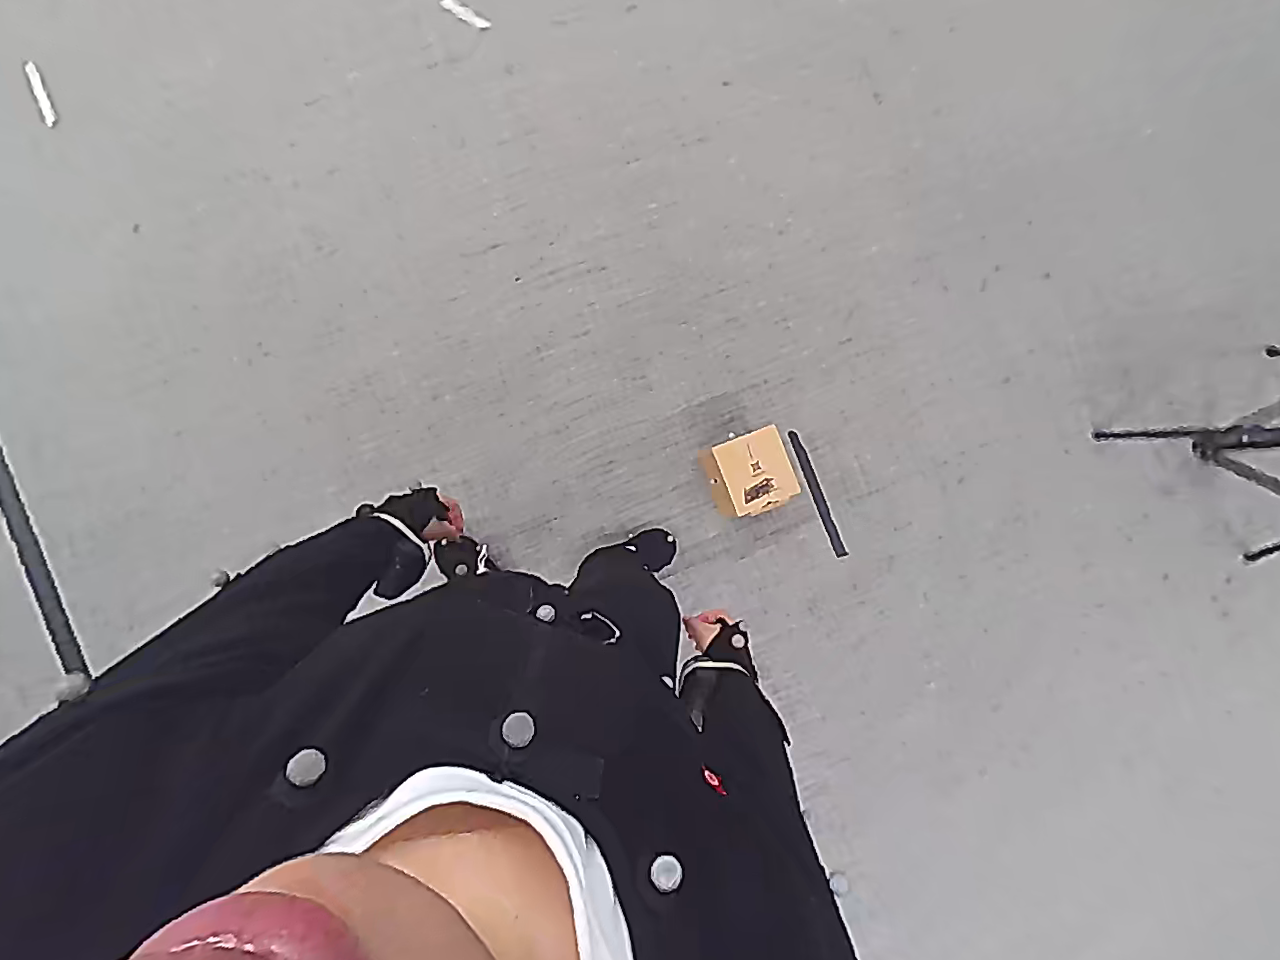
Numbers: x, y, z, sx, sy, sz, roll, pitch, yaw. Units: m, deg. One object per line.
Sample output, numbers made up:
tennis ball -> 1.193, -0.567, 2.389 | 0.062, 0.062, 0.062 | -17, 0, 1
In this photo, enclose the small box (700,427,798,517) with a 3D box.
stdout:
small box -> 0.265, -0.019, 1.350 | 0.168, 0.176, 0.179 | -20, 90, -5
